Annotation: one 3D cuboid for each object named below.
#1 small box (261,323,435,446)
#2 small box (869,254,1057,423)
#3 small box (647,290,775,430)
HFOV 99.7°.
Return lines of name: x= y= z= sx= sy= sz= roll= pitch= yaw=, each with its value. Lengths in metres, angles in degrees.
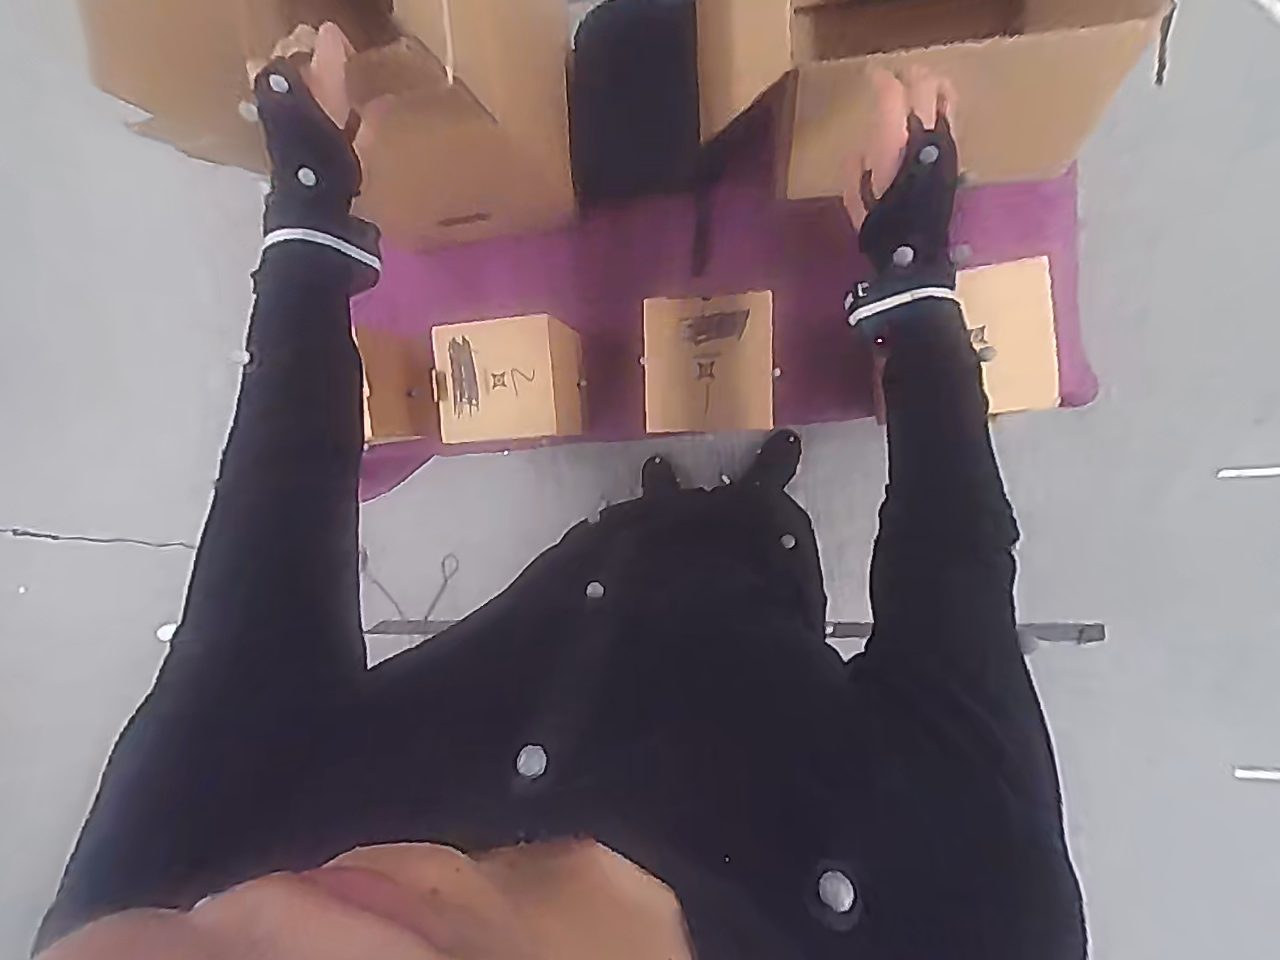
small box: x=-0.467 y=-0.146 z=0.886 sx=0.179 sy=0.176 sz=0.168 roll=-7 pitch=94 yaw=10
small box: x=0.410 y=-0.171 z=0.715 sx=0.168 sy=0.176 sz=0.179 roll=-6 pitch=94 yaw=13
small box: x=0.103 y=-0.161 z=0.776 sx=0.168 sy=0.176 sz=0.179 roll=0 pitch=96 yaw=11
